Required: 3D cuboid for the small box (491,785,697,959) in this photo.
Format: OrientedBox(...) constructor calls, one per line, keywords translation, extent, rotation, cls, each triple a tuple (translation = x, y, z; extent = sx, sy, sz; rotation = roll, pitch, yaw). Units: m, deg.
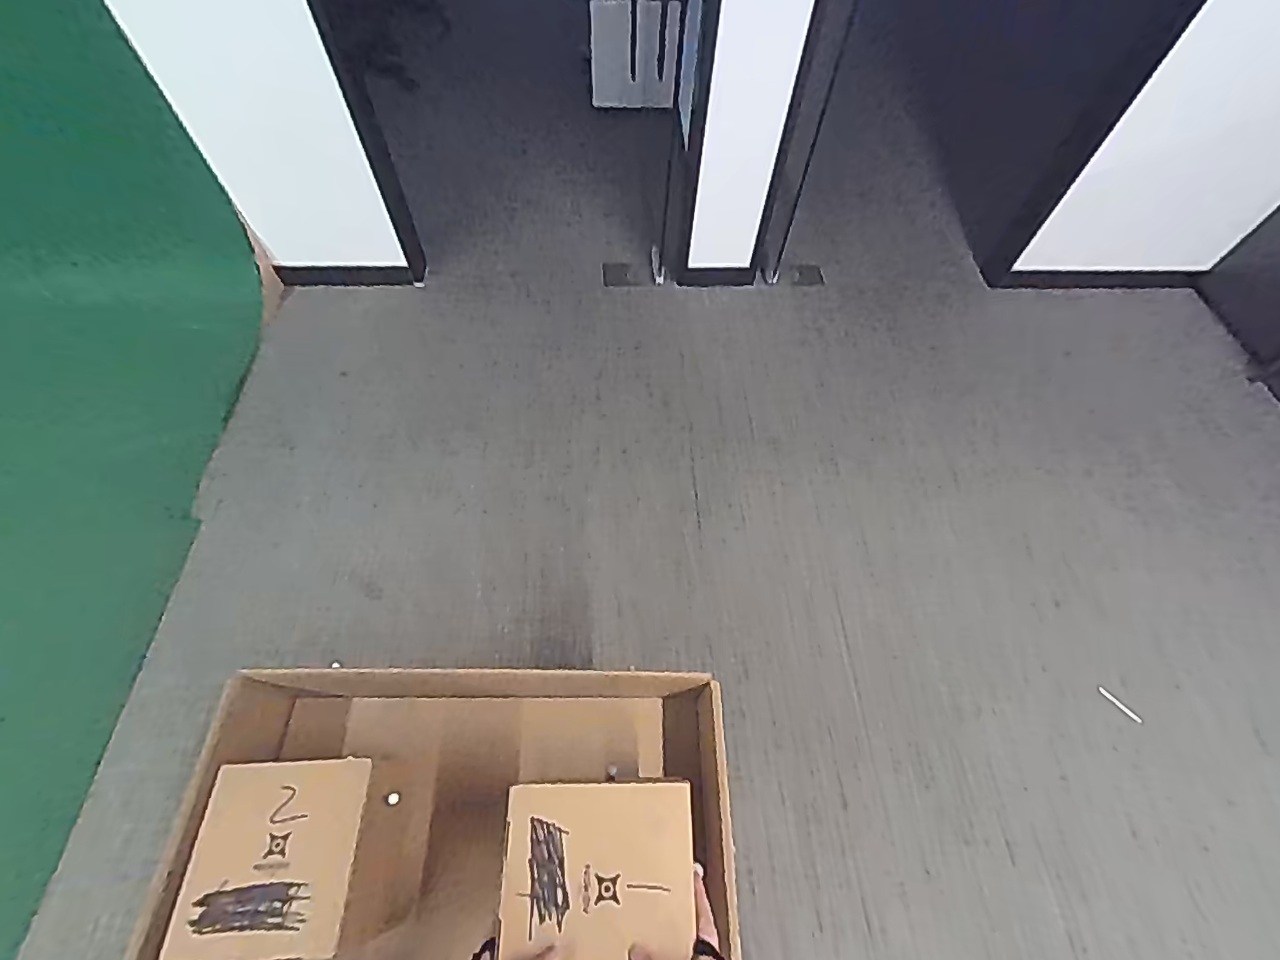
OrientedBox(translation=(-0.038, 0.405, 0.542), extent=(0.179, 0.176, 0.168), rotation=(-1, 63, 0), cls="small box")
